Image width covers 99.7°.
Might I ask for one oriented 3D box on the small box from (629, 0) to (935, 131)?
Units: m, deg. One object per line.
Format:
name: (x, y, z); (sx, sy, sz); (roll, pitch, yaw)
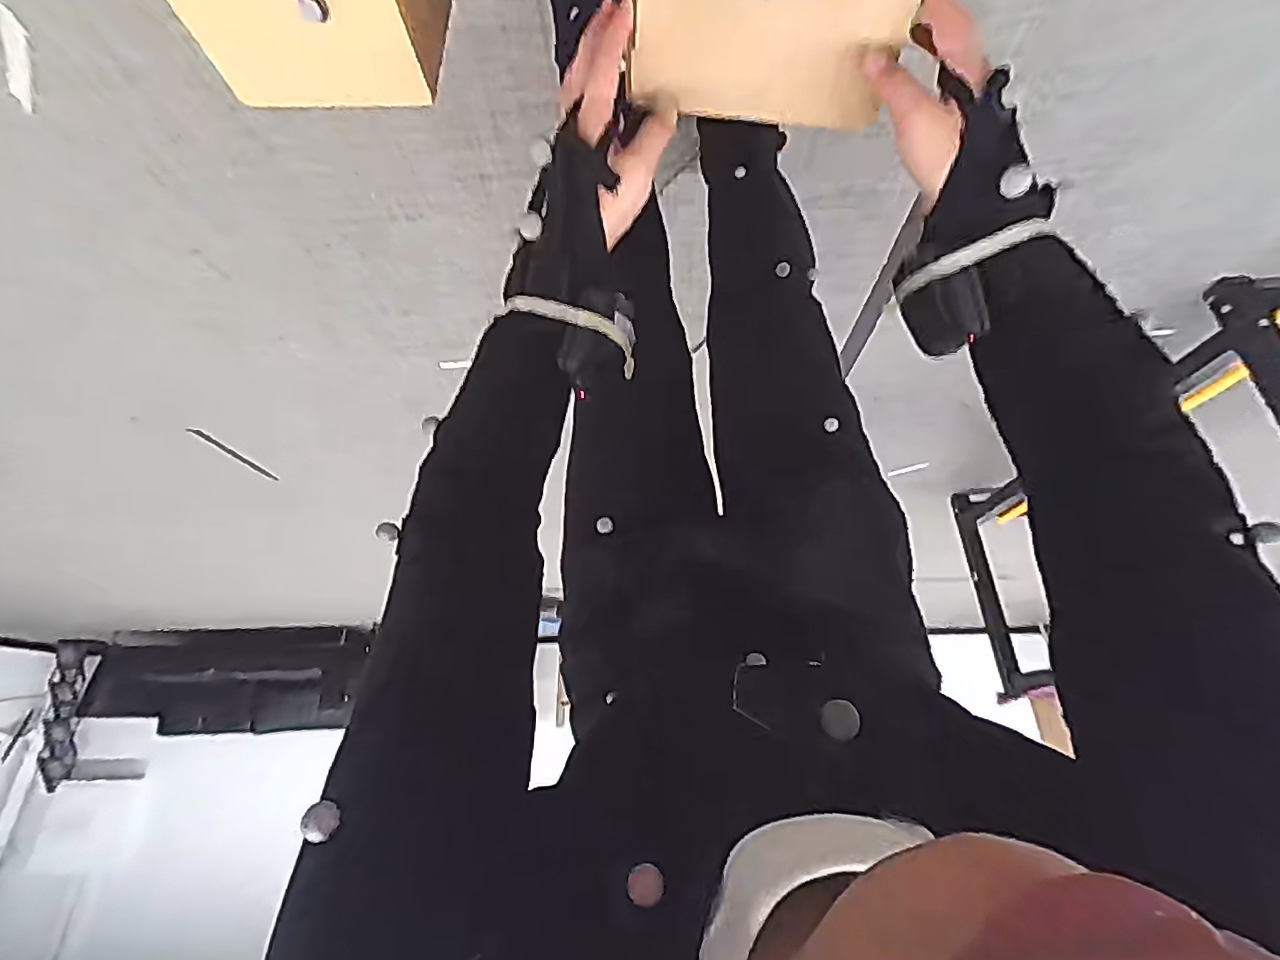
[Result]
small box: (0.088, -0.357, 0.352); (0.179, 0.176, 0.168); (3, 140, -5)
